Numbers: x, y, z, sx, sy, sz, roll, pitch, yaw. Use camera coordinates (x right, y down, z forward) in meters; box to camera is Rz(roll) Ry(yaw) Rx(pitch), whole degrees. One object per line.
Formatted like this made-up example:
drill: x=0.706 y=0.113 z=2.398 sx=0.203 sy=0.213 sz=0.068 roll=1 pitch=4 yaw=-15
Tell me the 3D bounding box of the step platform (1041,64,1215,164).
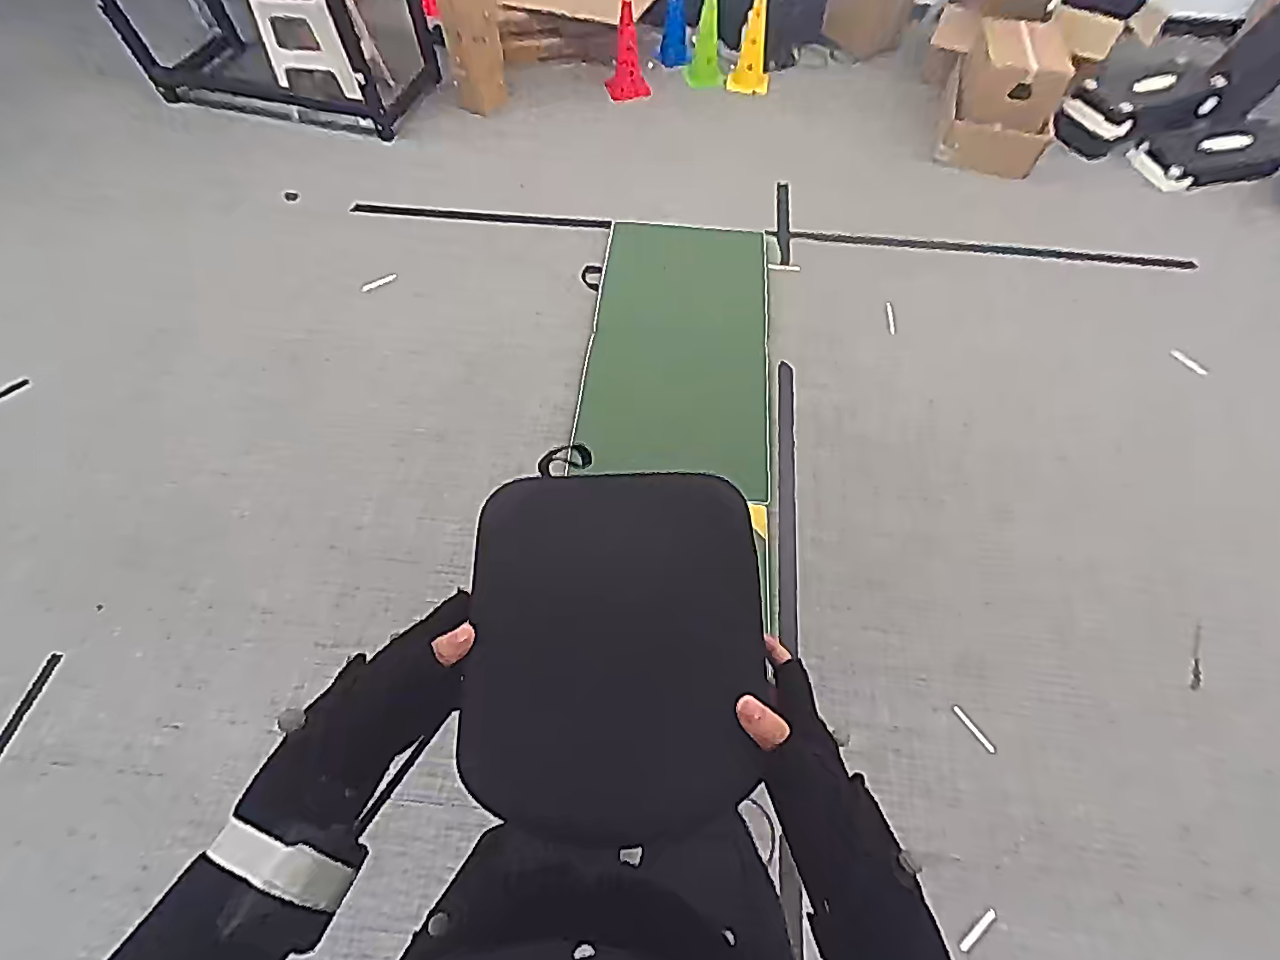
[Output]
step platform: x=2.233 y=-1.683 z=2.476 sx=0.684 sy=0.204 sz=0.286 roll=-21 pitch=64 yaw=-11
